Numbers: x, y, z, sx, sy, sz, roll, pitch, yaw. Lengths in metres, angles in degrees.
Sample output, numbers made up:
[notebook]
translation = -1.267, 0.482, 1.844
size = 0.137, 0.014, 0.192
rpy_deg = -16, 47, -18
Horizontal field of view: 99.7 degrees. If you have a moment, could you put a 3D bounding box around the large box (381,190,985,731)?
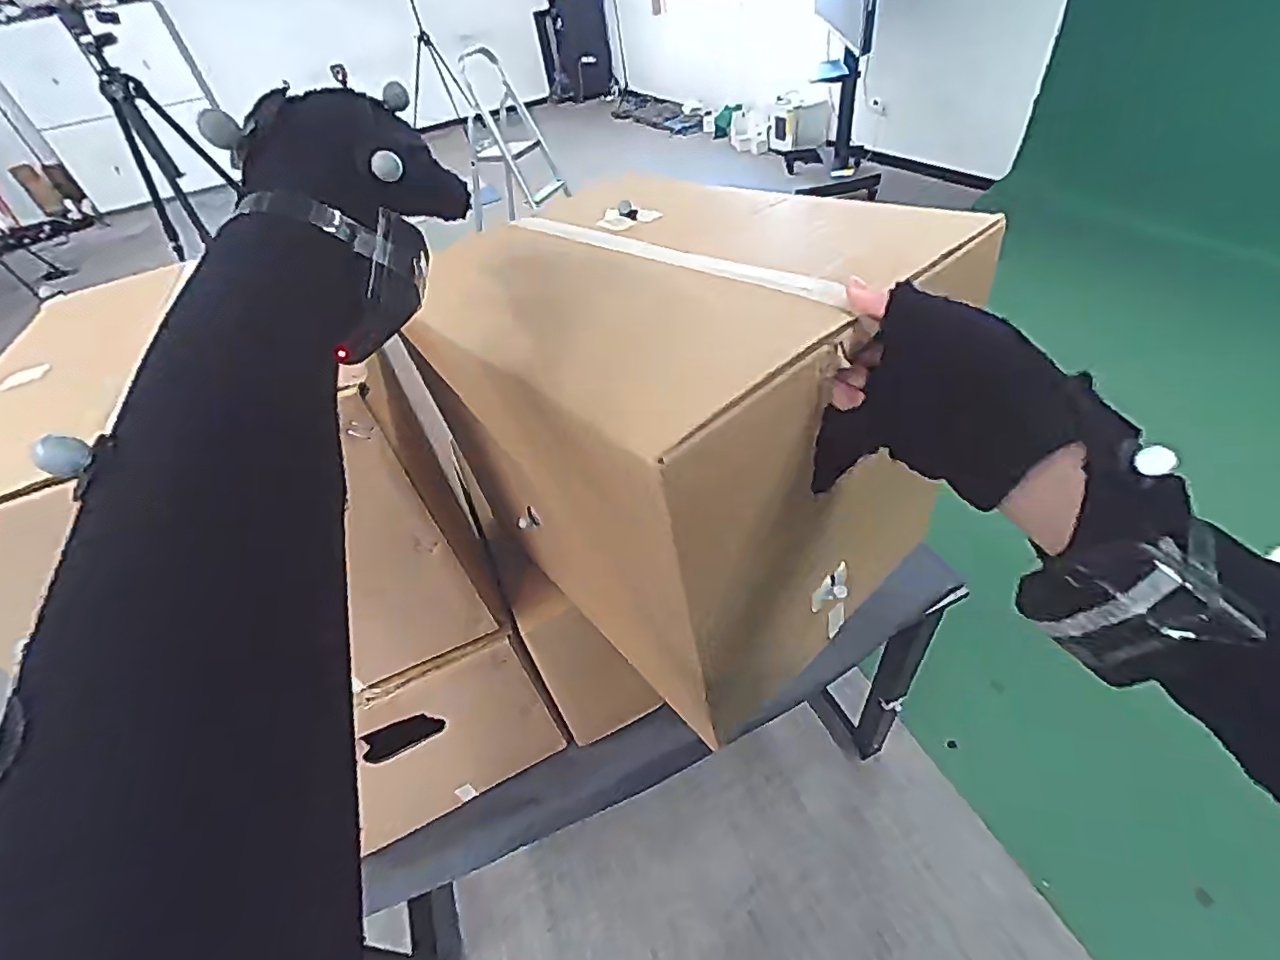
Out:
[large box]
translation = 0.027, -0.058, 0.528
size = 0.320, 0.320, 0.408
rpy_deg = -35, 45, -23
